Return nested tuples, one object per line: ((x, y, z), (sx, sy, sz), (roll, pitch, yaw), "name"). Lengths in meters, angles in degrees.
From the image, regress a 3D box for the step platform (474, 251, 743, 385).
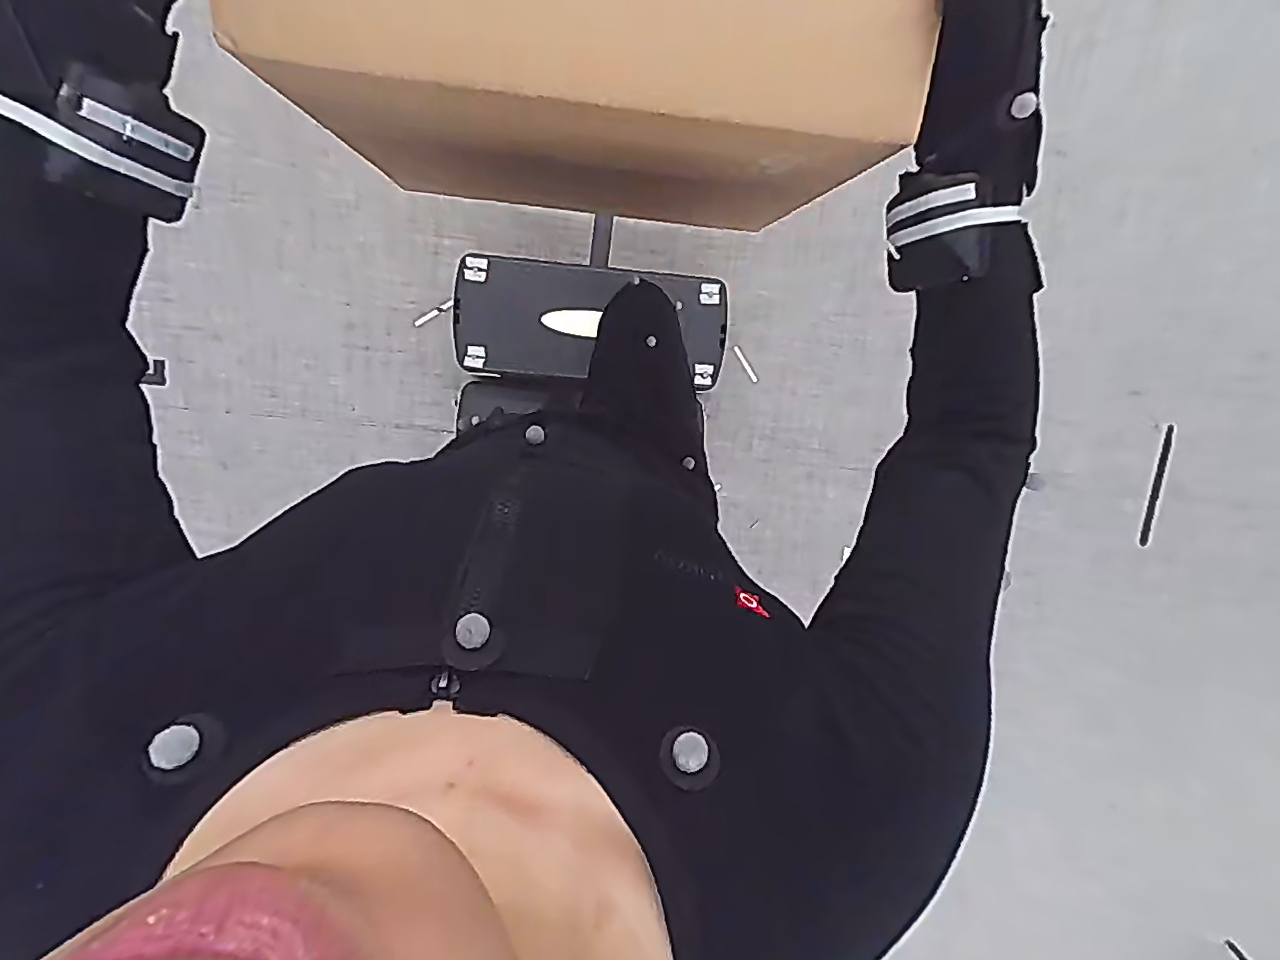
((-0.078, -0.411, 1.409), (0.684, 0.204, 0.286), (3, 100, -6), "step platform")

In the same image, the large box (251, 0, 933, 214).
((-0.028, -0.422, 0.429), (0.408, 0.320, 0.320), (2, 106, -7), "large box")
